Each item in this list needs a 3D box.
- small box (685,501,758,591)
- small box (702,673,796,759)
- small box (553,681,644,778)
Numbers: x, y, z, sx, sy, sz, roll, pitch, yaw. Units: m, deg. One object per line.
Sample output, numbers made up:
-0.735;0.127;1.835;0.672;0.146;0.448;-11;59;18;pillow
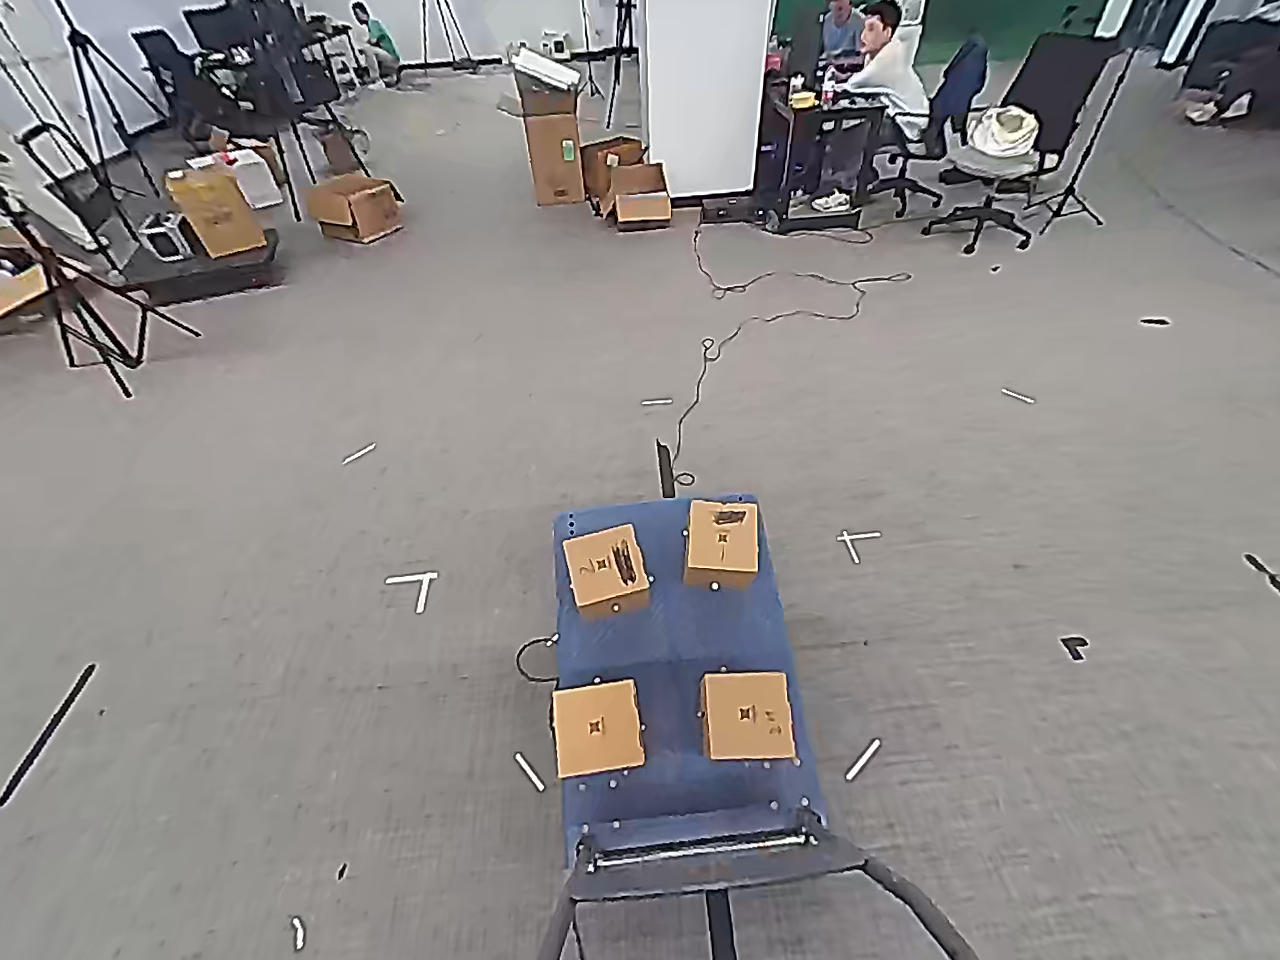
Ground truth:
0.202;0.169;1.370;0.168;0.176;0.179;4;65;3;small box
0.230;0.524;1.194;0.179;0.176;0.168;-2;64;1;small box
-0.087;0.550;1.189;0.179;0.176;0.168;-8;64;-5;small box
